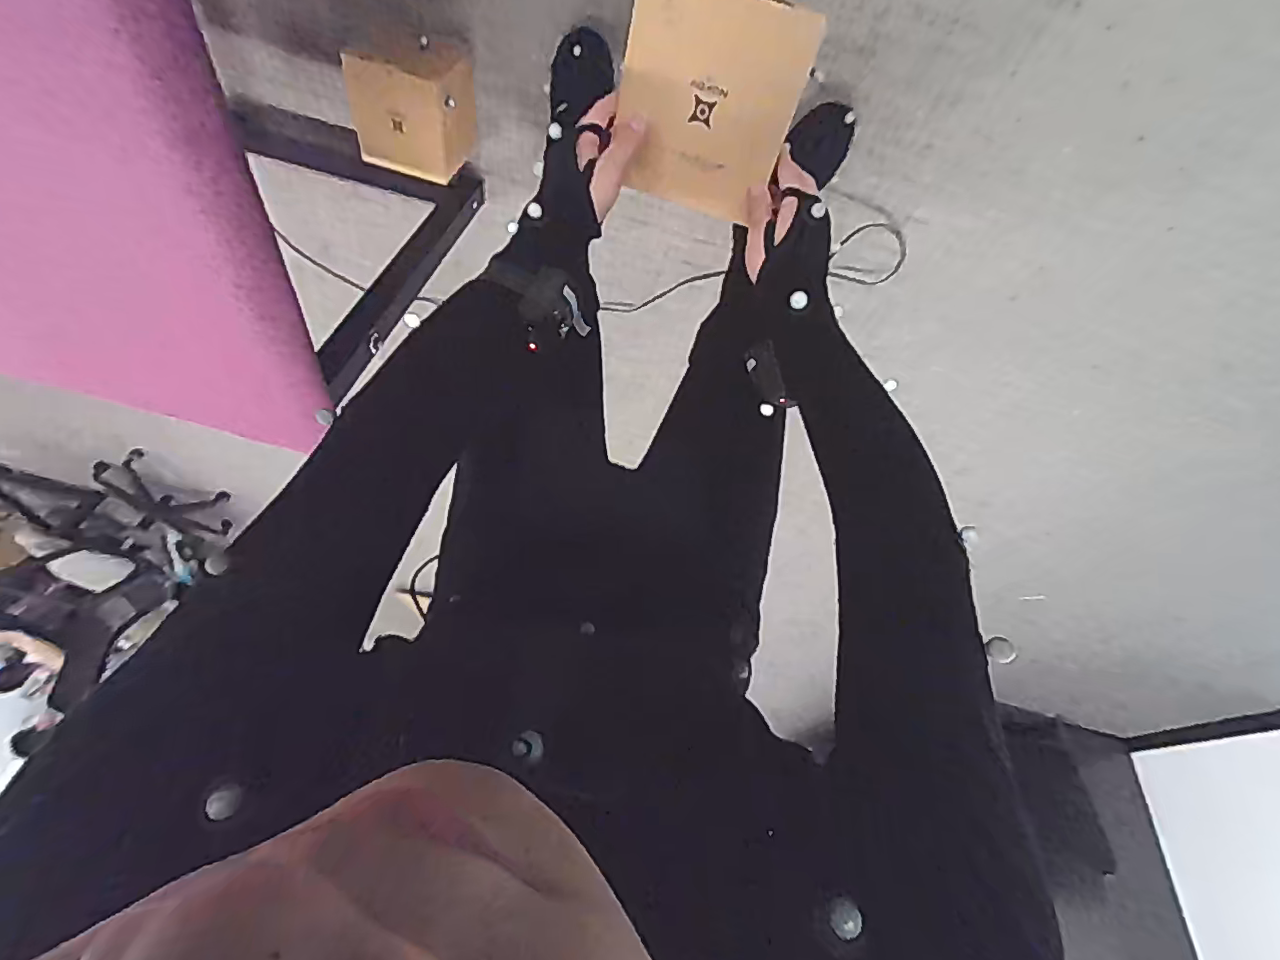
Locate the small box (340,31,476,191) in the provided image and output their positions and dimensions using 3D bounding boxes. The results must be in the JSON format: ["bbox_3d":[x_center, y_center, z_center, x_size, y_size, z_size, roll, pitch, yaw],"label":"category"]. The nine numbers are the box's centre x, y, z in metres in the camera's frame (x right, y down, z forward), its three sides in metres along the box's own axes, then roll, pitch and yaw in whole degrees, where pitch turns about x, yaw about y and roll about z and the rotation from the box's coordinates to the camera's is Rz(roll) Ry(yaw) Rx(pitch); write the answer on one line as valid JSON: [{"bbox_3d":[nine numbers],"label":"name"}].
[{"bbox_3d":[-0.413,-0.681,1.001,0.168,0.176,0.179,15,143,-2],"label":"small box"}]
